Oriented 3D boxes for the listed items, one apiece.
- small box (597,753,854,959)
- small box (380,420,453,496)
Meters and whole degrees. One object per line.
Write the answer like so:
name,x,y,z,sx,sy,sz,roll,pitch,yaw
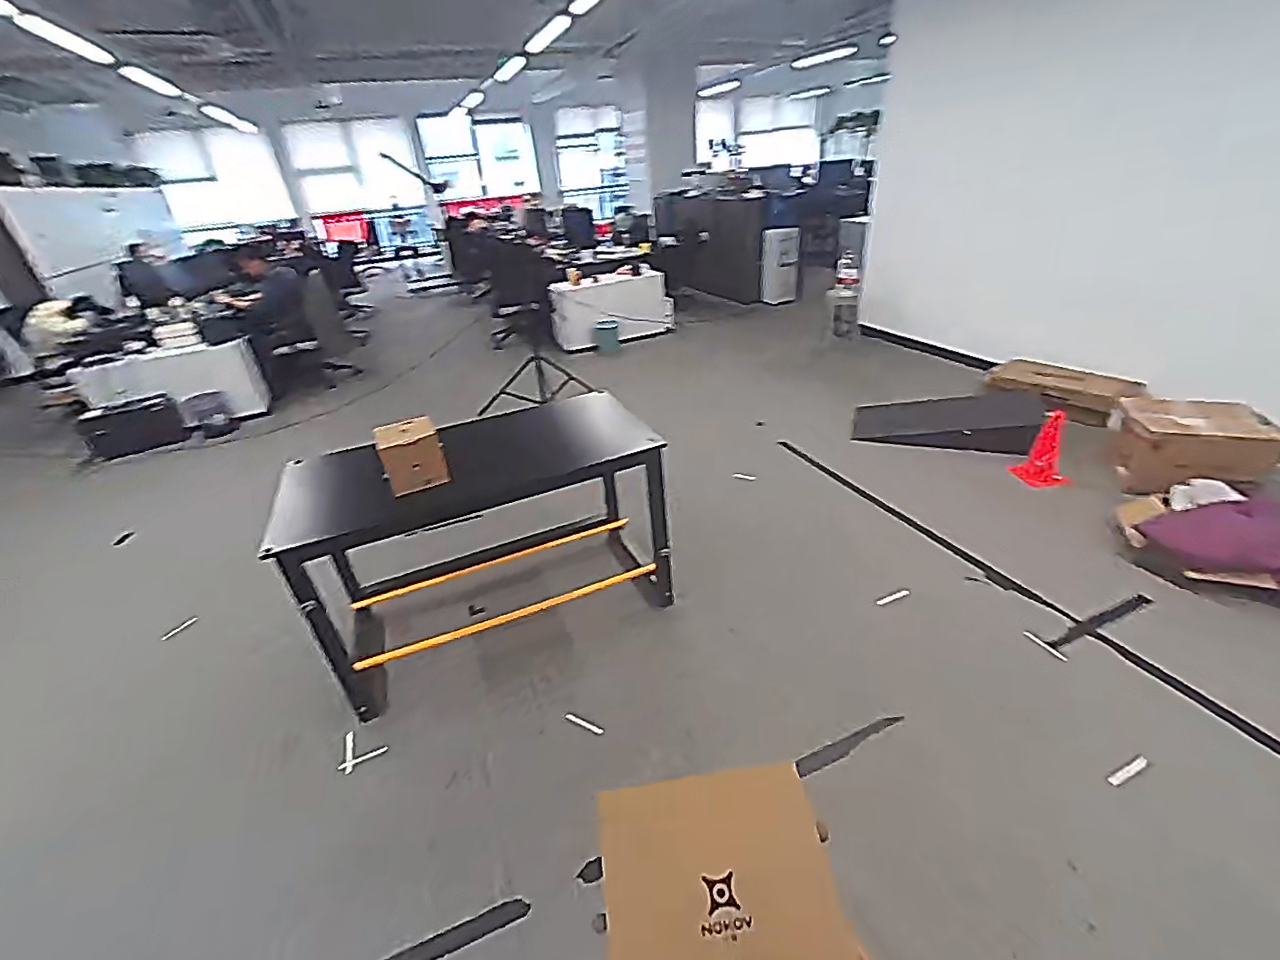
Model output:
small box,0.061,0.357,0.441,0.168,0.176,0.179,-10,43,-3
small box,-0.708,-0.066,1.718,0.168,0.176,0.179,-19,33,-21
